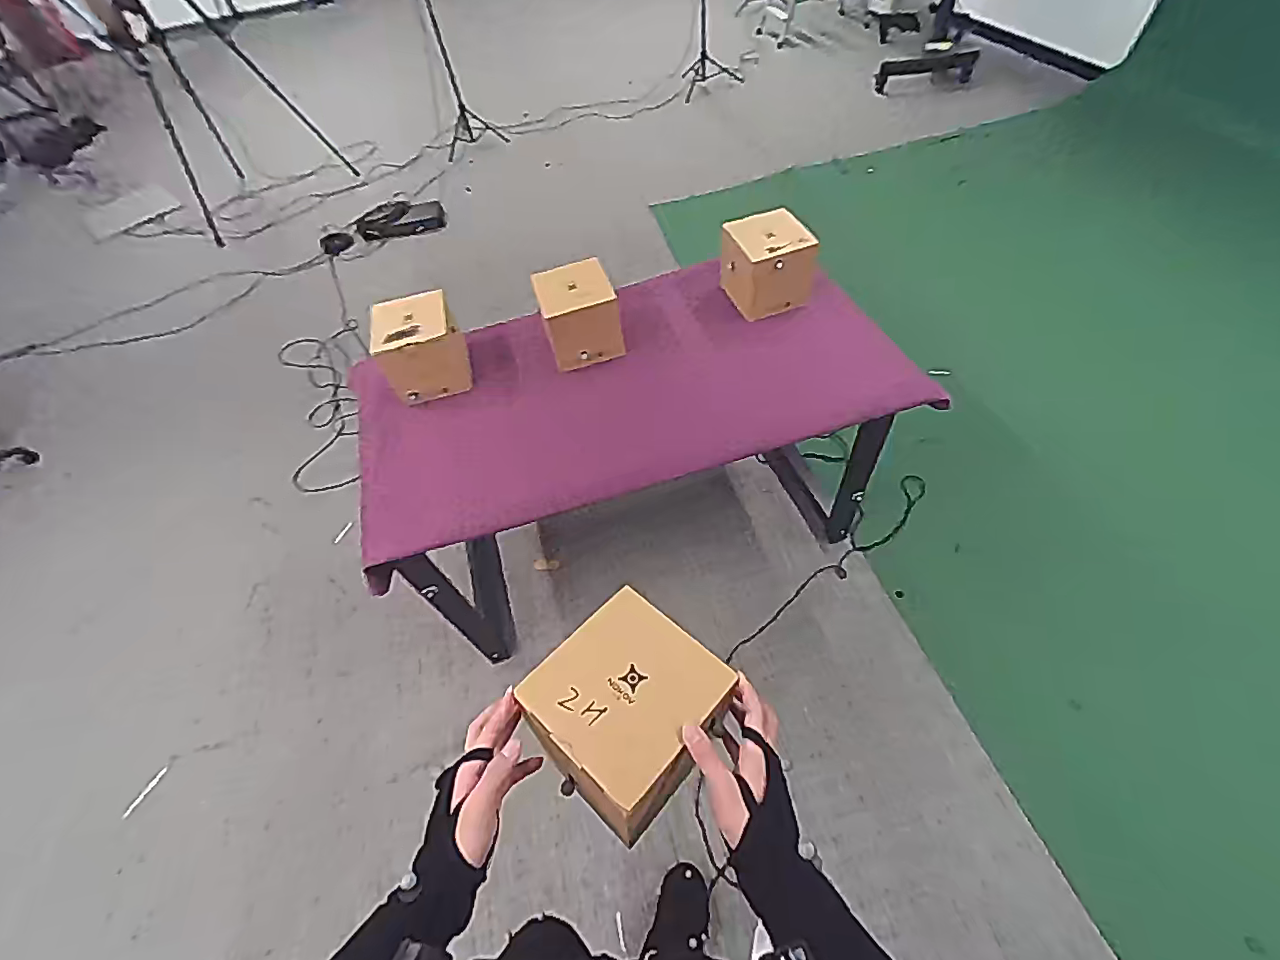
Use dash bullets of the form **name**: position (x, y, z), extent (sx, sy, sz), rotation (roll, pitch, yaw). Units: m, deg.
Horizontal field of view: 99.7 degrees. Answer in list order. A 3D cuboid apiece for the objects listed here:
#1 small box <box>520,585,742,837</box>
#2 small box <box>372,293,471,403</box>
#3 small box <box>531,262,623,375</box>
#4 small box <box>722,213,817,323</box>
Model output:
- **small box**: position (-0.009, 0.262, 0.619), extent (0.168, 0.176, 0.179), rotation (35, 57, 28)
- **small box**: position (-0.504, -0.301, 1.263), extent (0.168, 0.176, 0.179), rotation (-15, 55, -5)
- **small box**: position (-0.146, -0.381, 1.283), extent (0.168, 0.176, 0.179), rotation (-18, 54, -5)
- **small box**: position (0.305, -0.515, 1.322), extent (0.168, 0.176, 0.179), rotation (-19, 54, -5)
